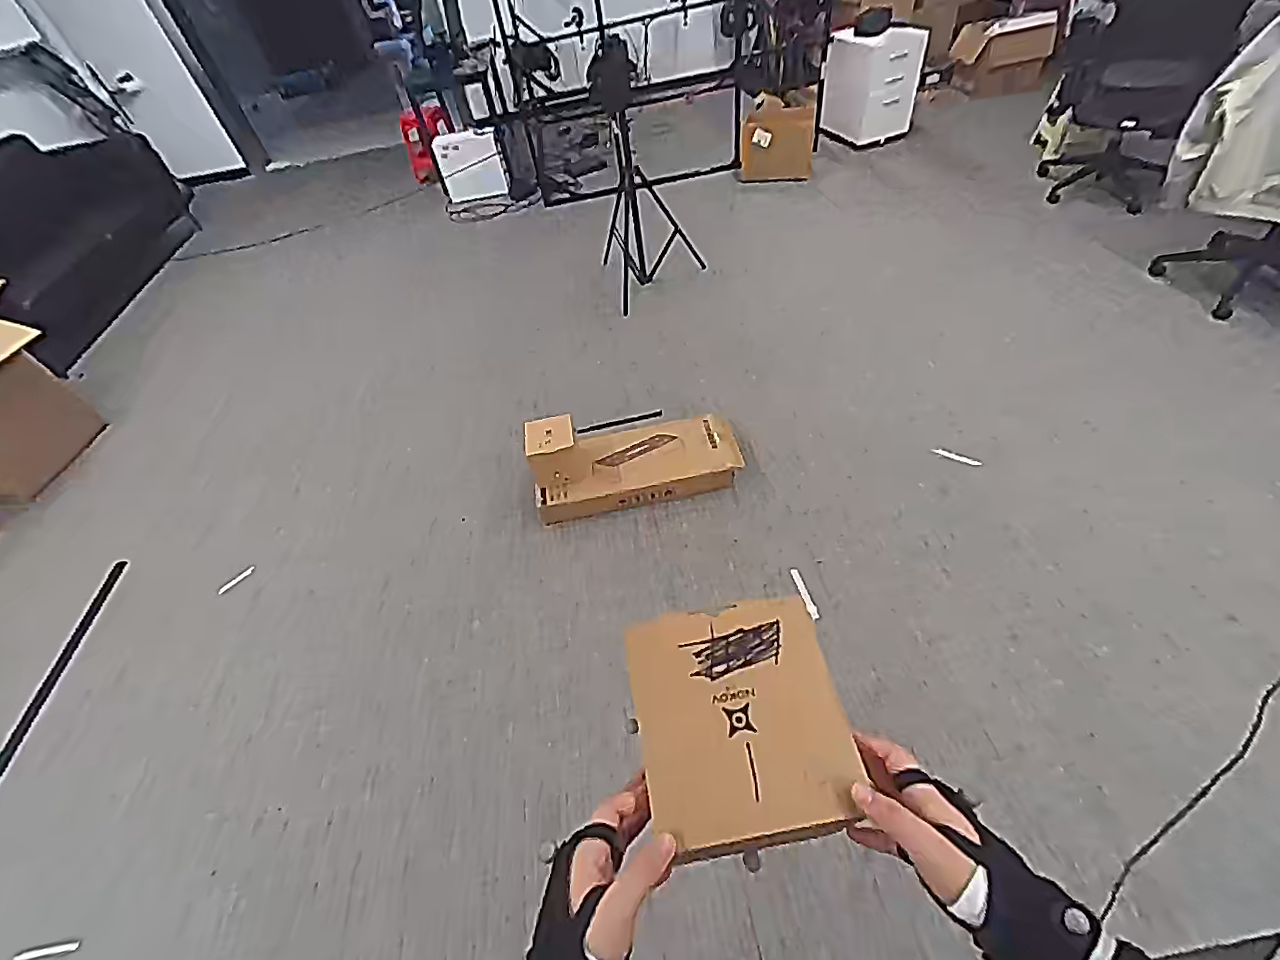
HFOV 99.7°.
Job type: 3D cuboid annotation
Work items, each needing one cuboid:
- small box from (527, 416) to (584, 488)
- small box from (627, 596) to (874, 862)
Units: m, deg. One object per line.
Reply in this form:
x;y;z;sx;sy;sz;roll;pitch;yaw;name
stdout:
-0.299;-0.098;1.912;0.168;0.176;0.179;-12;47;-1;small box
0.085;0.235;0.505;0.168;0.176;0.179;-10;52;-2;small box
